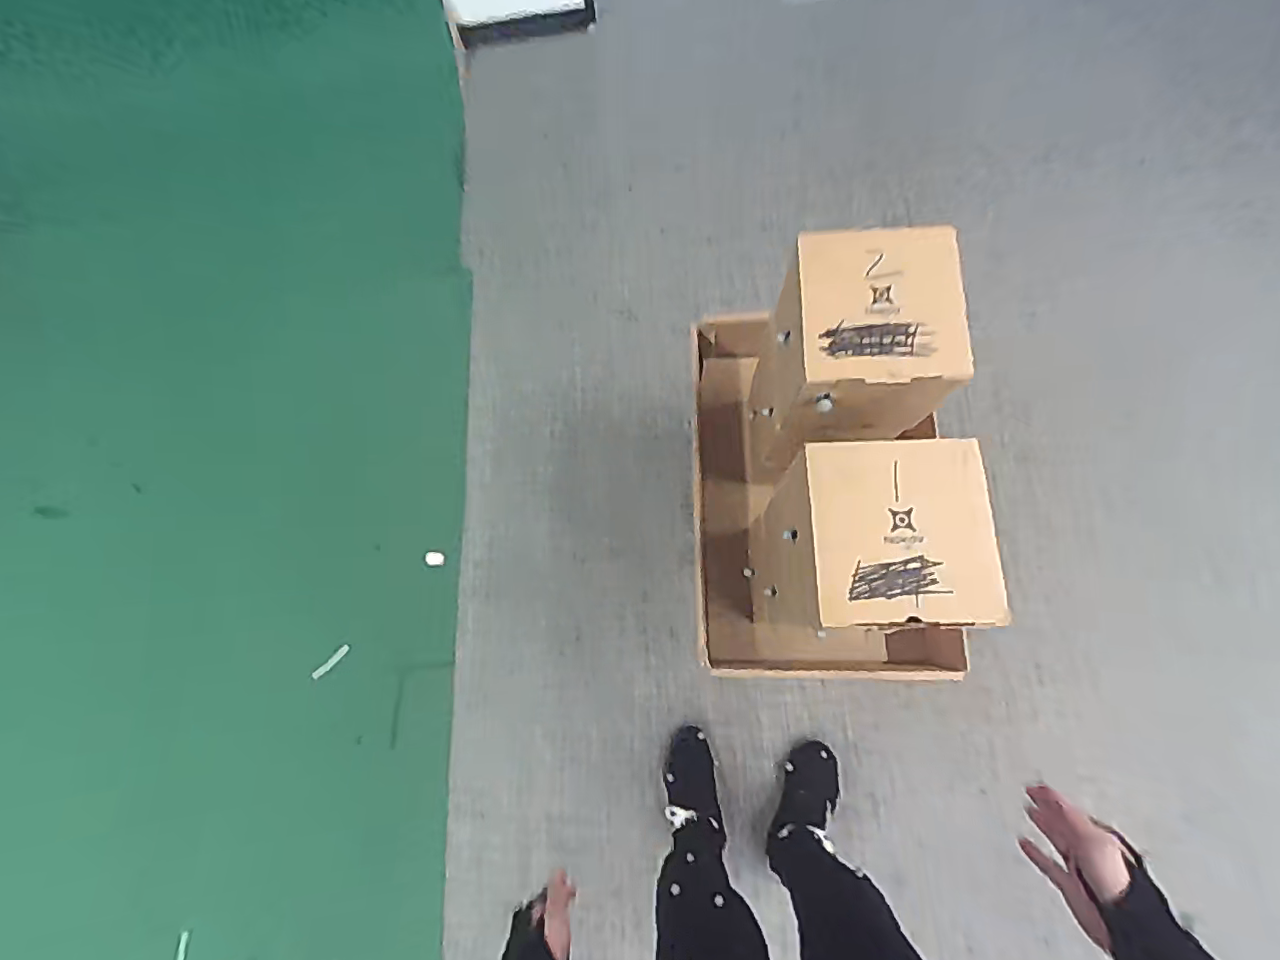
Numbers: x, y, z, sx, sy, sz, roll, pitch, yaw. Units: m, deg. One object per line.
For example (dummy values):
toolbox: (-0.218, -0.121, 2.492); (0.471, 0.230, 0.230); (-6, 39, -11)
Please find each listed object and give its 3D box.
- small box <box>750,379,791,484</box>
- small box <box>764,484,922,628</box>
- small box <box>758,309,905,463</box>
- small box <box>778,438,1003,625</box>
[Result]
small box: (0.287, -0.096, 0.962); (0.168, 0.176, 0.179); (-1, 77, 6)
small box: (0.264, 0.108, 0.739); (0.168, 0.176, 0.179); (0, 75, 5)
small box: (0.271, -0.131, 0.805); (0.168, 0.176, 0.179); (-1, 77, 5)
small box: (0.248, 0.065, 0.582); (0.168, 0.176, 0.179); (-1, 74, 4)
